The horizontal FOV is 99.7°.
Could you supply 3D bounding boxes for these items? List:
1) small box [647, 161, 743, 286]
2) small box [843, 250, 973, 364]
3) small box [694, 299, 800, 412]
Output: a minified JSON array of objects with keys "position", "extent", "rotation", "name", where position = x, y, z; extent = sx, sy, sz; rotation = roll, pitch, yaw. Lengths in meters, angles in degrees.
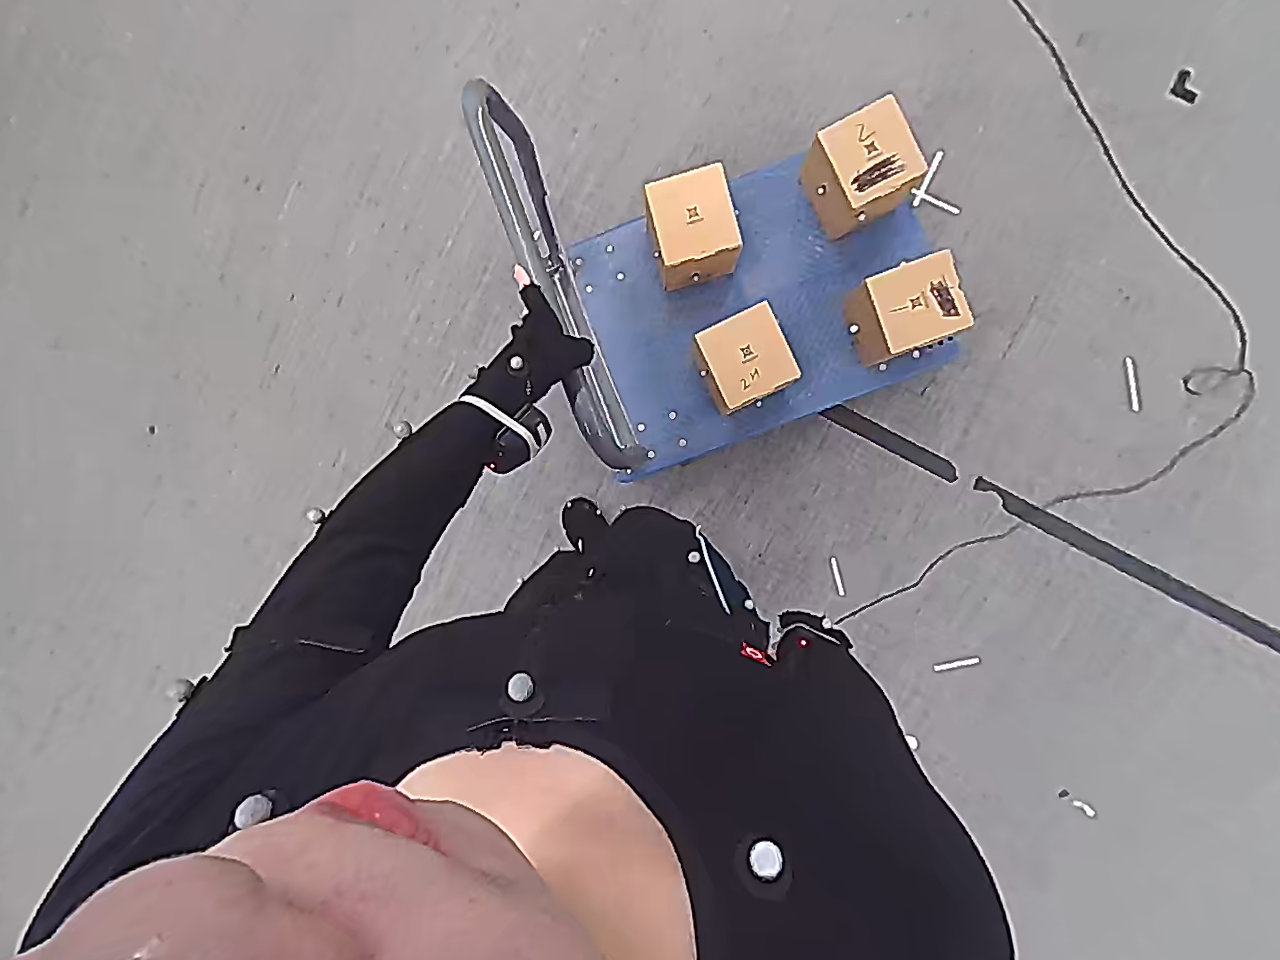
[{"position":[0.115,-0.552,1.186],"extent":[0.168,0.176,0.179],"rotation":[-15,93,3],"name":"small box"},{"position":[0.570,-0.365,1.170],"extent":[0.179,0.176,0.168],"rotation":[-19,91,5],"name":"small box"},{"position":[0.226,-0.264,1.192],"extent":[0.168,0.176,0.179],"rotation":[-25,91,4],"name":"small box"}]
